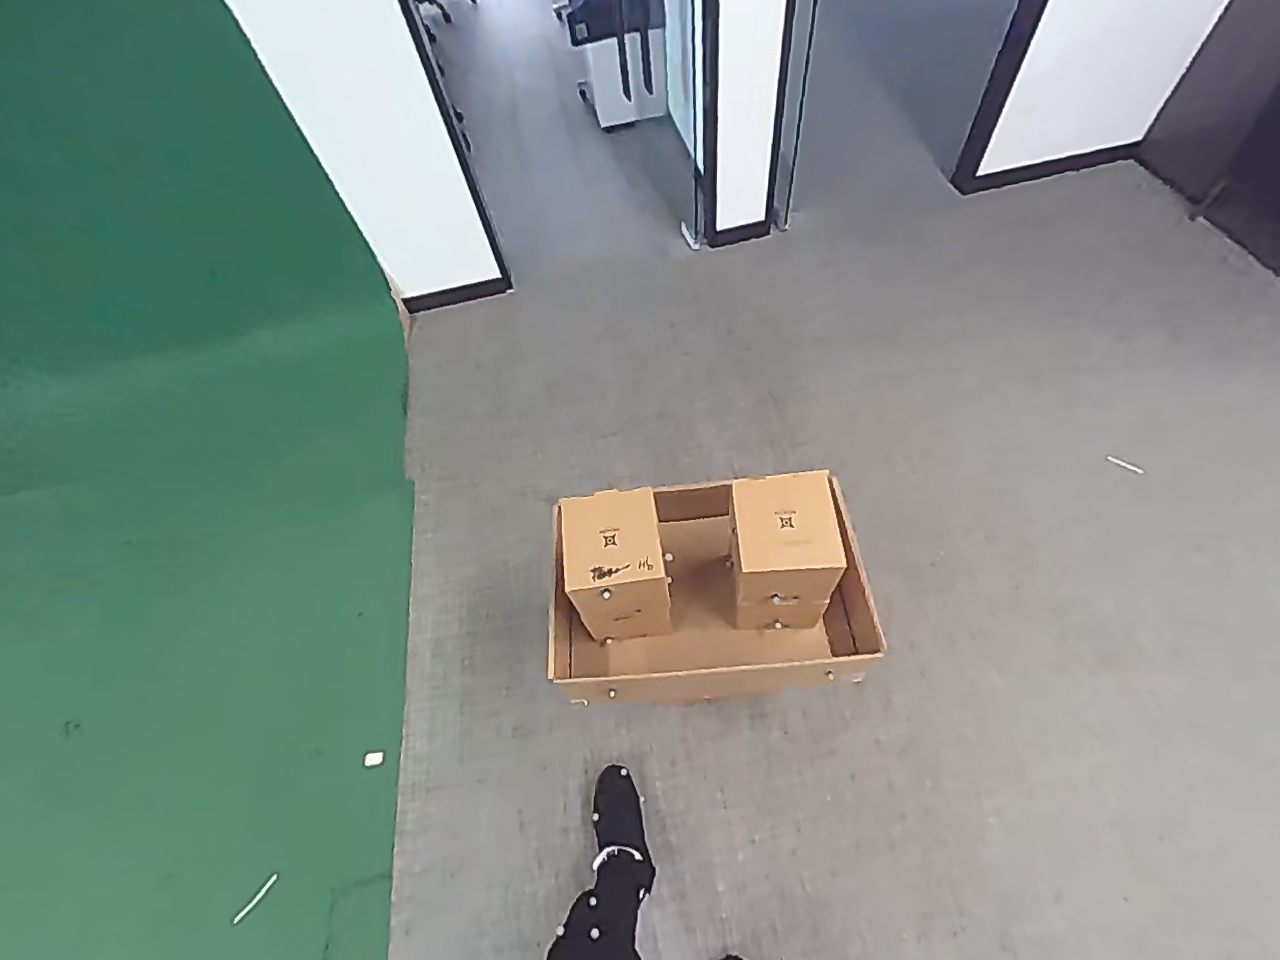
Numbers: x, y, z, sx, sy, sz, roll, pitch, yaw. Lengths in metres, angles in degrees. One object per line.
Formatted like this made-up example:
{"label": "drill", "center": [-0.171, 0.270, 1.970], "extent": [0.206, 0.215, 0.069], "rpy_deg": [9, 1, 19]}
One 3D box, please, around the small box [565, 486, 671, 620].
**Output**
{"label": "small box", "center": [-0.037, 0.135, 0.973], "extent": [0.168, 0.176, 0.179], "rpy_deg": [-9, 57, 2]}

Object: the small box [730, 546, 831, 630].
{"label": "small box", "center": [0.274, 0.194, 1.095], "extent": [0.168, 0.176, 0.179], "rpy_deg": [-3, 58, 5]}

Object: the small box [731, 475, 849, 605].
{"label": "small box", "center": [0.253, 0.109, 0.957], "extent": [0.168, 0.176, 0.179], "rpy_deg": [-3, 58, 5]}
